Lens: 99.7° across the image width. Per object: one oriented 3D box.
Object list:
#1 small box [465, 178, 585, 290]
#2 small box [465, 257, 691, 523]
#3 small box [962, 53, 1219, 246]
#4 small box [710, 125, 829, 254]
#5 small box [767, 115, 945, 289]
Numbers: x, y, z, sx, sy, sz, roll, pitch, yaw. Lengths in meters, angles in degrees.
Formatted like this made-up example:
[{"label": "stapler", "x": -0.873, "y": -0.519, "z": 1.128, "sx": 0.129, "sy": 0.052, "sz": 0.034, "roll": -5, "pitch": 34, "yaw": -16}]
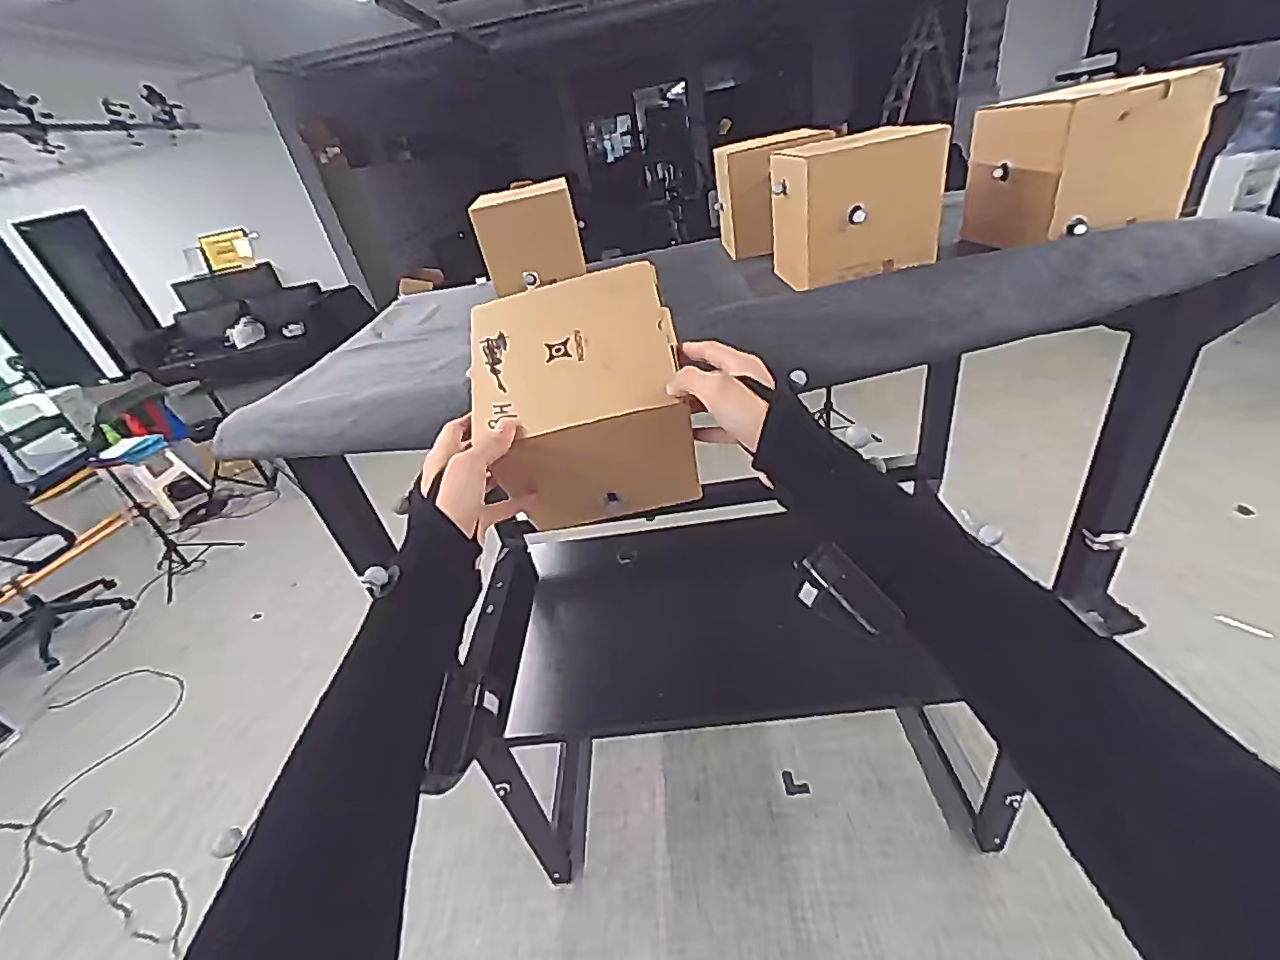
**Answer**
[{"label": "small box", "x": -0.198, "y": -0.434, "z": 0.980, "sx": 0.168, "sy": 0.176, "sz": 0.179, "roll": -13, "pitch": 33, "yaw": 0}, {"label": "small box", "x": -0.050, "y": -0.076, "z": 0.521, "sx": 0.179, "sy": 0.176, "sz": 0.168, "roll": -12, "pitch": 60, "yaw": 4}, {"label": "small box", "x": 0.544, "y": -0.406, "z": 0.686, "sx": 0.168, "sy": 0.176, "sz": 0.179, "roll": -12, "pitch": 31, "yaw": 1}, {"label": "small box", "x": 0.228, "y": -0.514, "z": 0.961, "sx": 0.179, "sy": 0.176, "sz": 0.168, "roll": -9, "pitch": 33, "yaw": 5}, {"label": "small box", "x": 0.274, "y": -0.364, "z": 0.718, "sx": 0.168, "sy": 0.176, "sz": 0.179, "roll": -10, "pitch": 32, "yaw": 3}]
